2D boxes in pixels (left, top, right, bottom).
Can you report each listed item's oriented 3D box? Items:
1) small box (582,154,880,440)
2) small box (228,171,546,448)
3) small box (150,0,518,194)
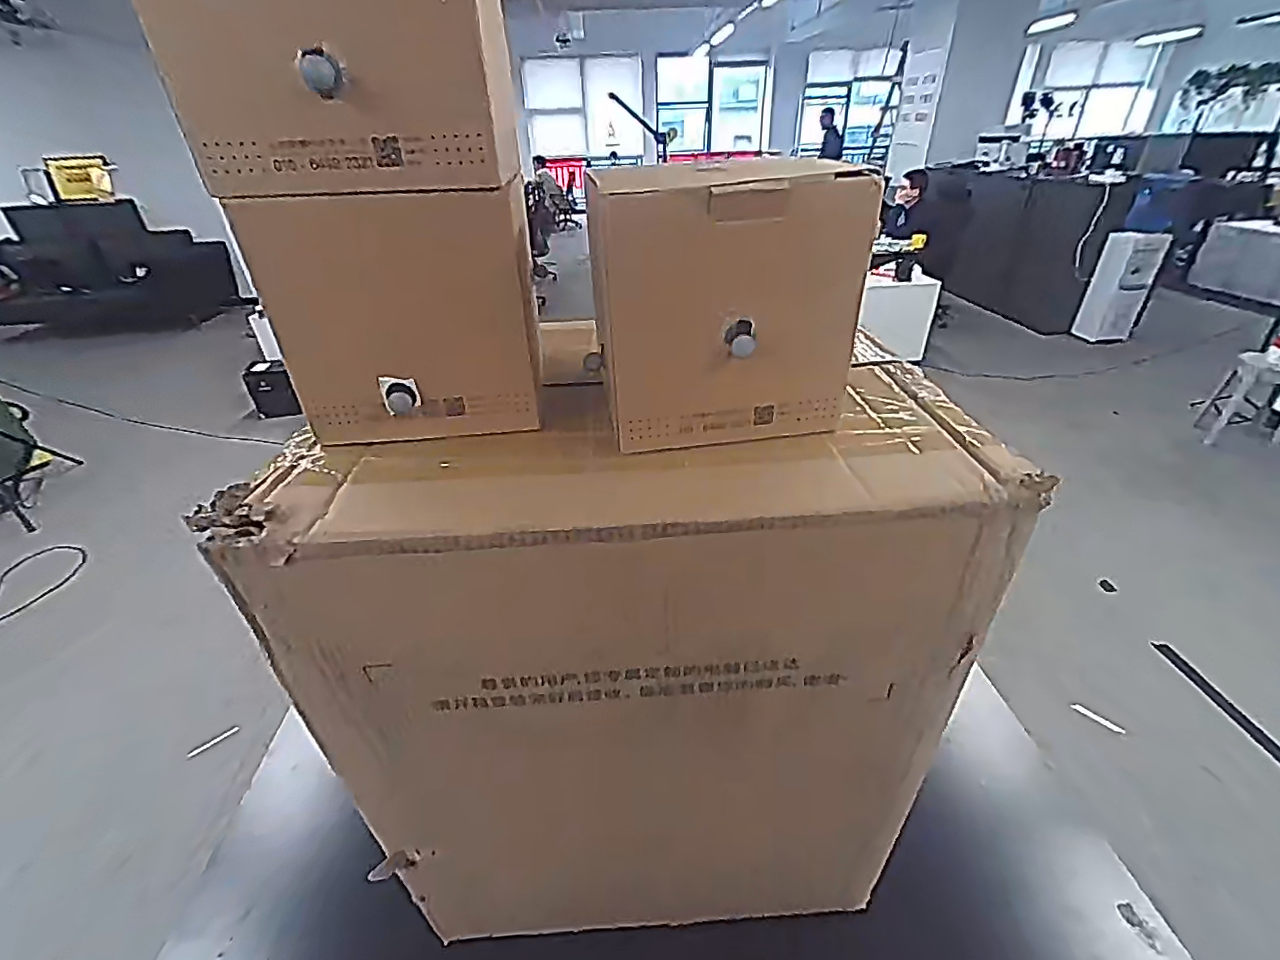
[{"bbox_3d":[0.050,-0.139,0.411,0.168,0.176,0.179,-7,34,-6],"label":"small box"},{"bbox_3d":[-0.168,-0.142,0.430,0.168,0.176,0.179,-6,34,-7],"label":"small box"},{"bbox_3d":[-0.174,-0.279,0.338,0.168,0.176,0.179,-5,33,-5],"label":"small box"}]
